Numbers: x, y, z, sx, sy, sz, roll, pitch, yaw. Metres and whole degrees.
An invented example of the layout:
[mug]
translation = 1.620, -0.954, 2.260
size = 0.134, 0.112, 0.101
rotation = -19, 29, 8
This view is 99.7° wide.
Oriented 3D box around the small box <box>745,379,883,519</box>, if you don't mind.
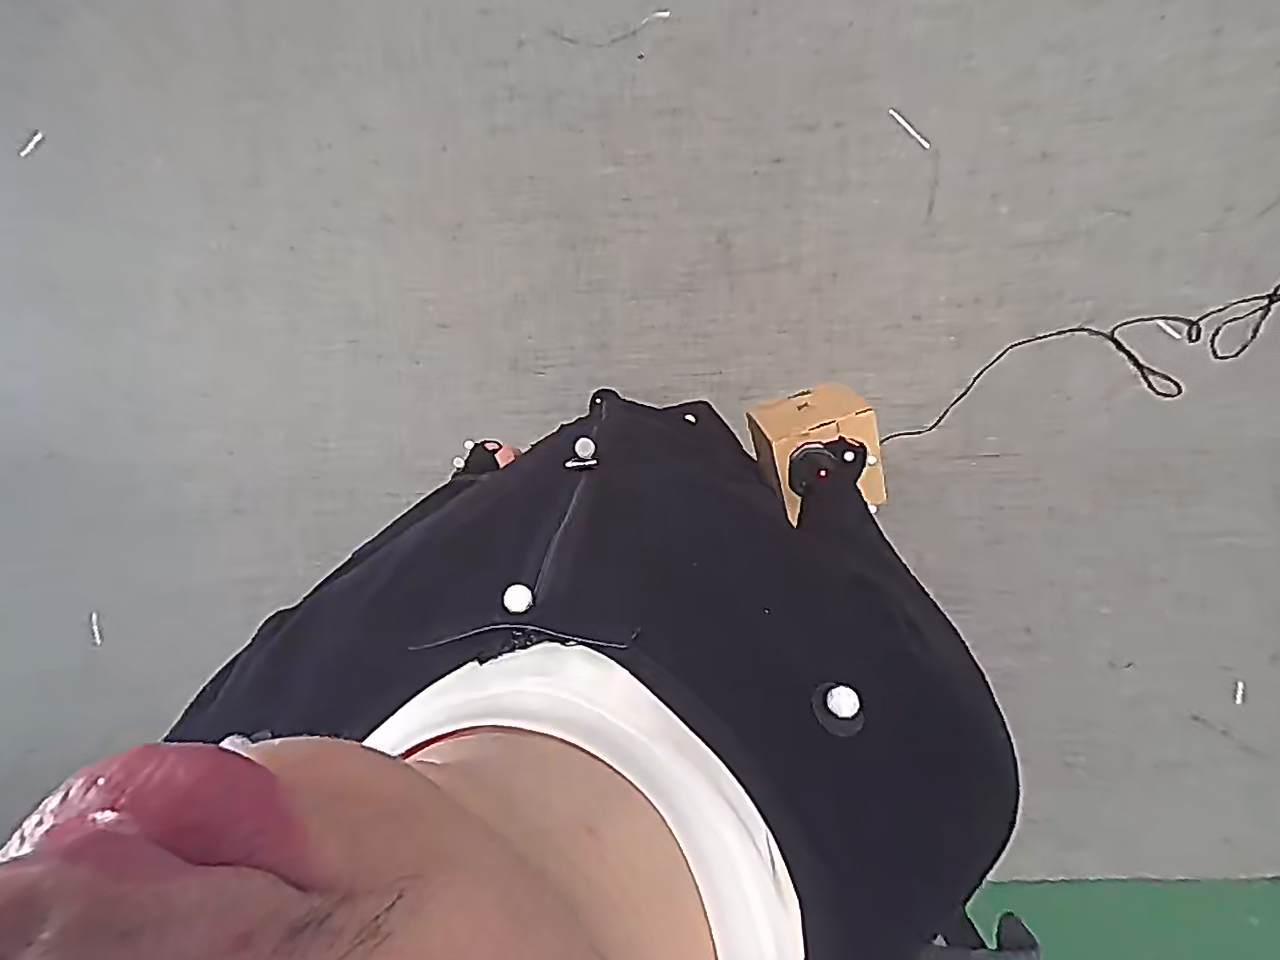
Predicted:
[small box]
translation = 0.299, -0.050, 0.937
size = 0.168, 0.179, 0.176
rotation = -19, 115, 4
